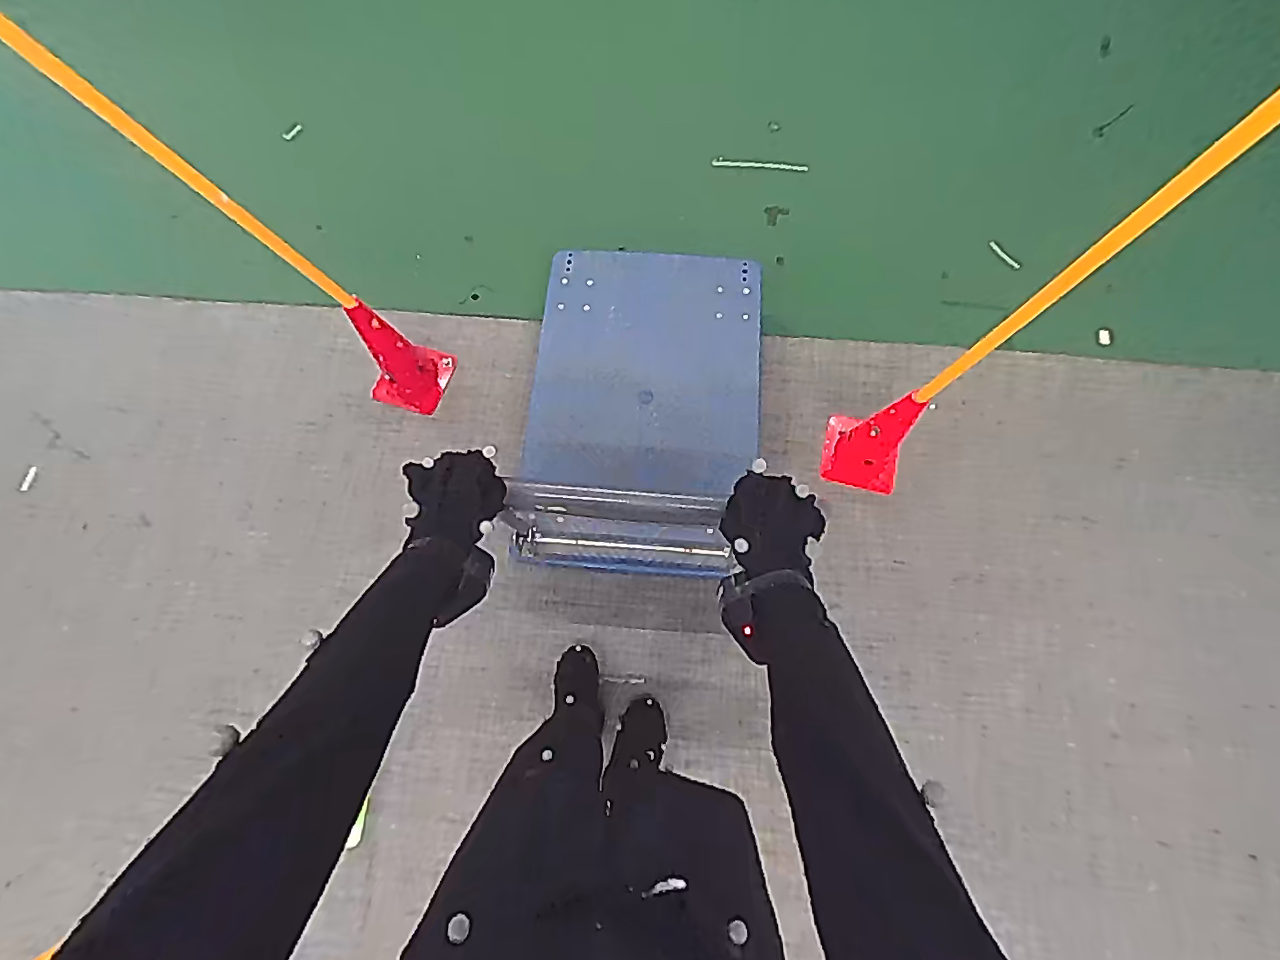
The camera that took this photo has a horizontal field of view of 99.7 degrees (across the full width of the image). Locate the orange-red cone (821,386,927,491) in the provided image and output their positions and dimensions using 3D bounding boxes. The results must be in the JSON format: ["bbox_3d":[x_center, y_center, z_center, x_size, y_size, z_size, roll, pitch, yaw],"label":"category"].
[{"bbox_3d":[0.605,-0.130,1.325,0.198,0.360,0.199,15,74,6],"label":"orange-red cone"}]
